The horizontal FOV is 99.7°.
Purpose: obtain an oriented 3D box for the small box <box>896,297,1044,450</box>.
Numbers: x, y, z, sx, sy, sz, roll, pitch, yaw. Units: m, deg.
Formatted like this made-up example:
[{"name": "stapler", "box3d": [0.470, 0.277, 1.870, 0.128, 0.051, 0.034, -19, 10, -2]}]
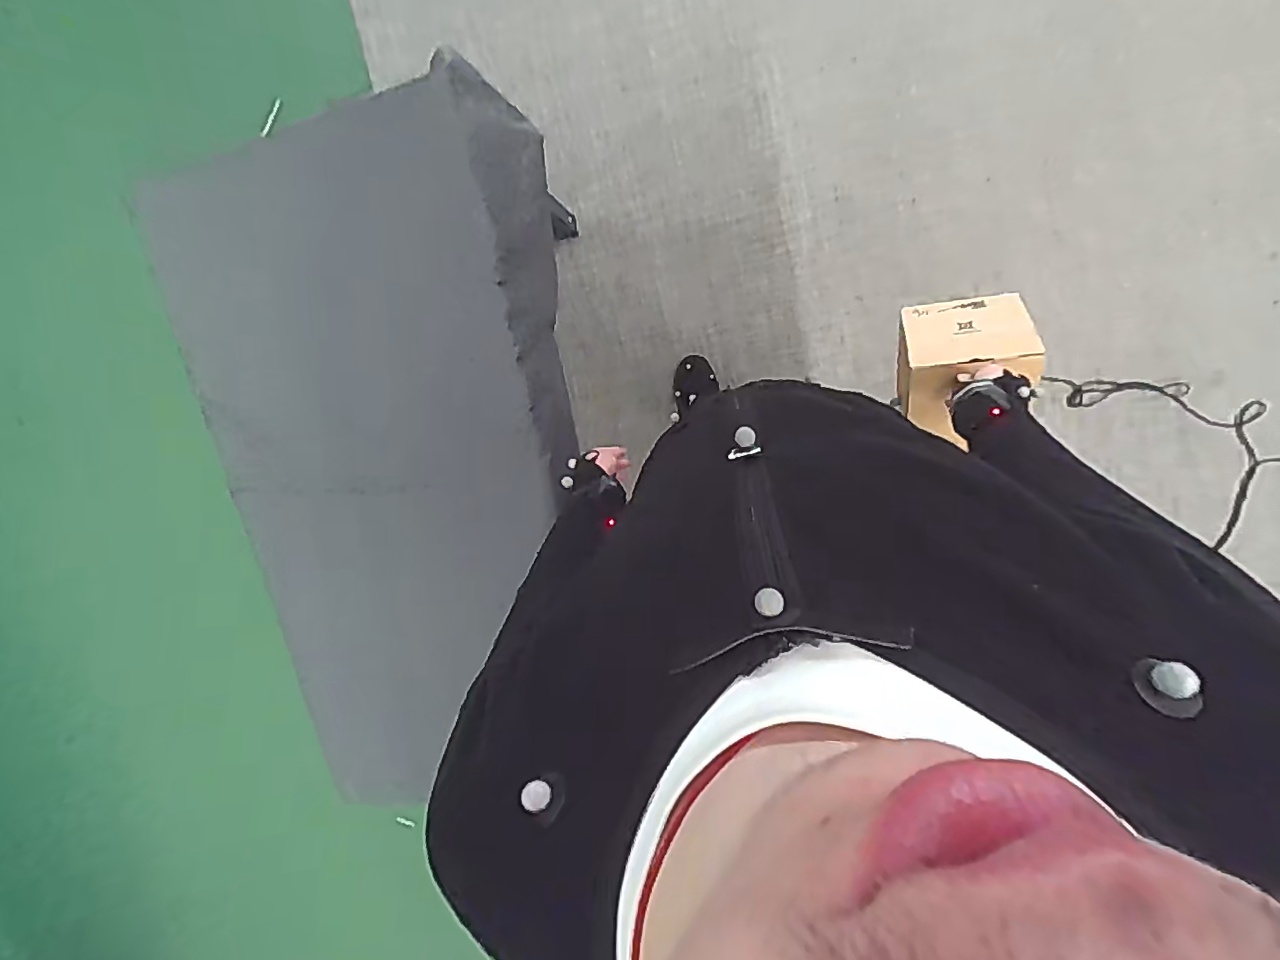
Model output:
[{"name": "small box", "box3d": [0.508, -0.159, 0.856, 0.168, 0.179, 0.176, -5, 131, 20]}]
